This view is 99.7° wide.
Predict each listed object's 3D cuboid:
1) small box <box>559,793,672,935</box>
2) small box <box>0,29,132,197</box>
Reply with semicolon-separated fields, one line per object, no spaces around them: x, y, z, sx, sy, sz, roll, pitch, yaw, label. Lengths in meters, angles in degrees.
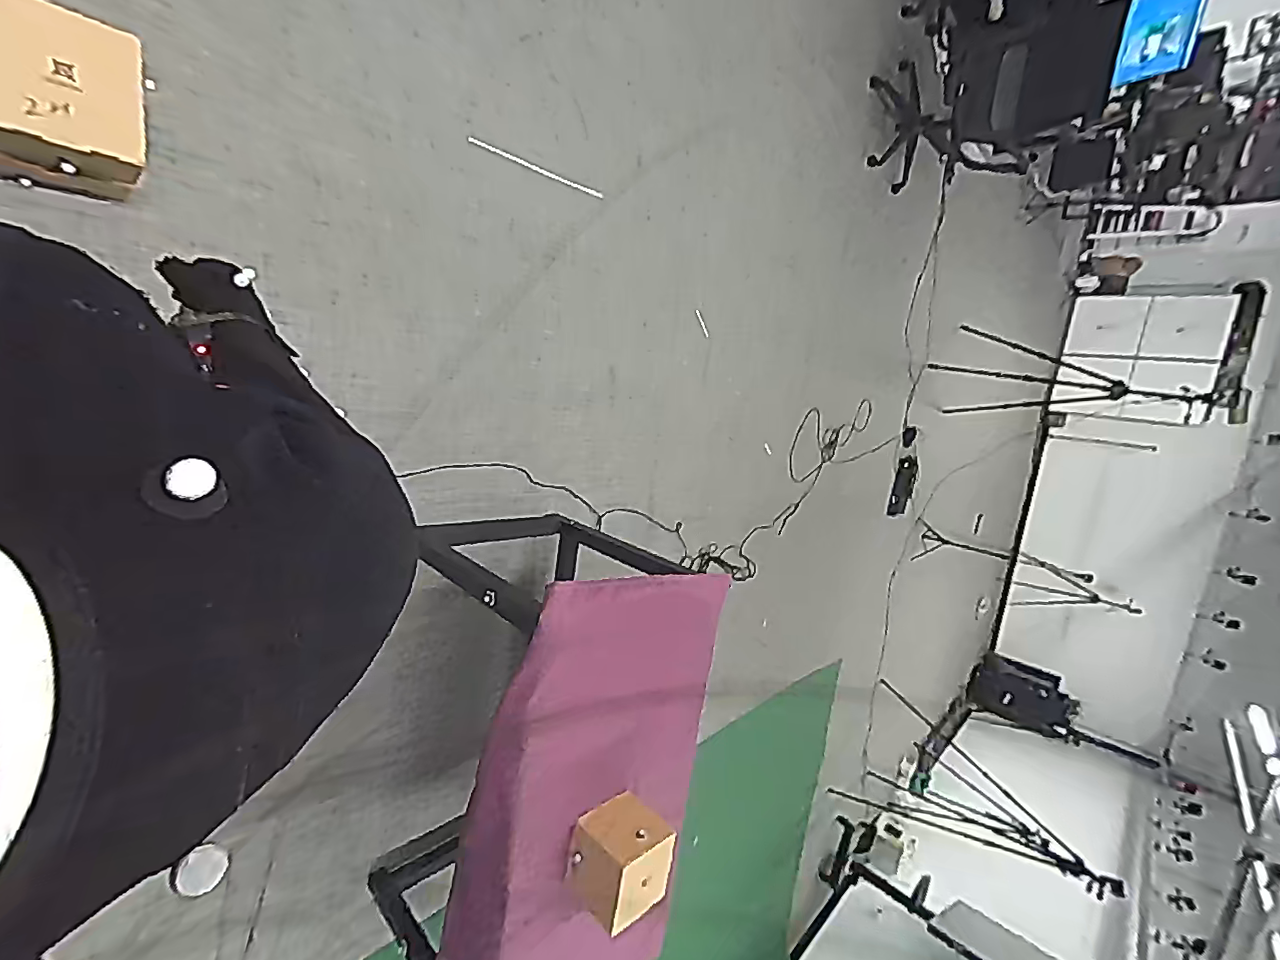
-0.056;0.859;1.234;0.179;0.176;0.168;5;97;-47;small box
-0.968;-0.597;0.903;0.168;0.176;0.179;-4;104;-46;small box
